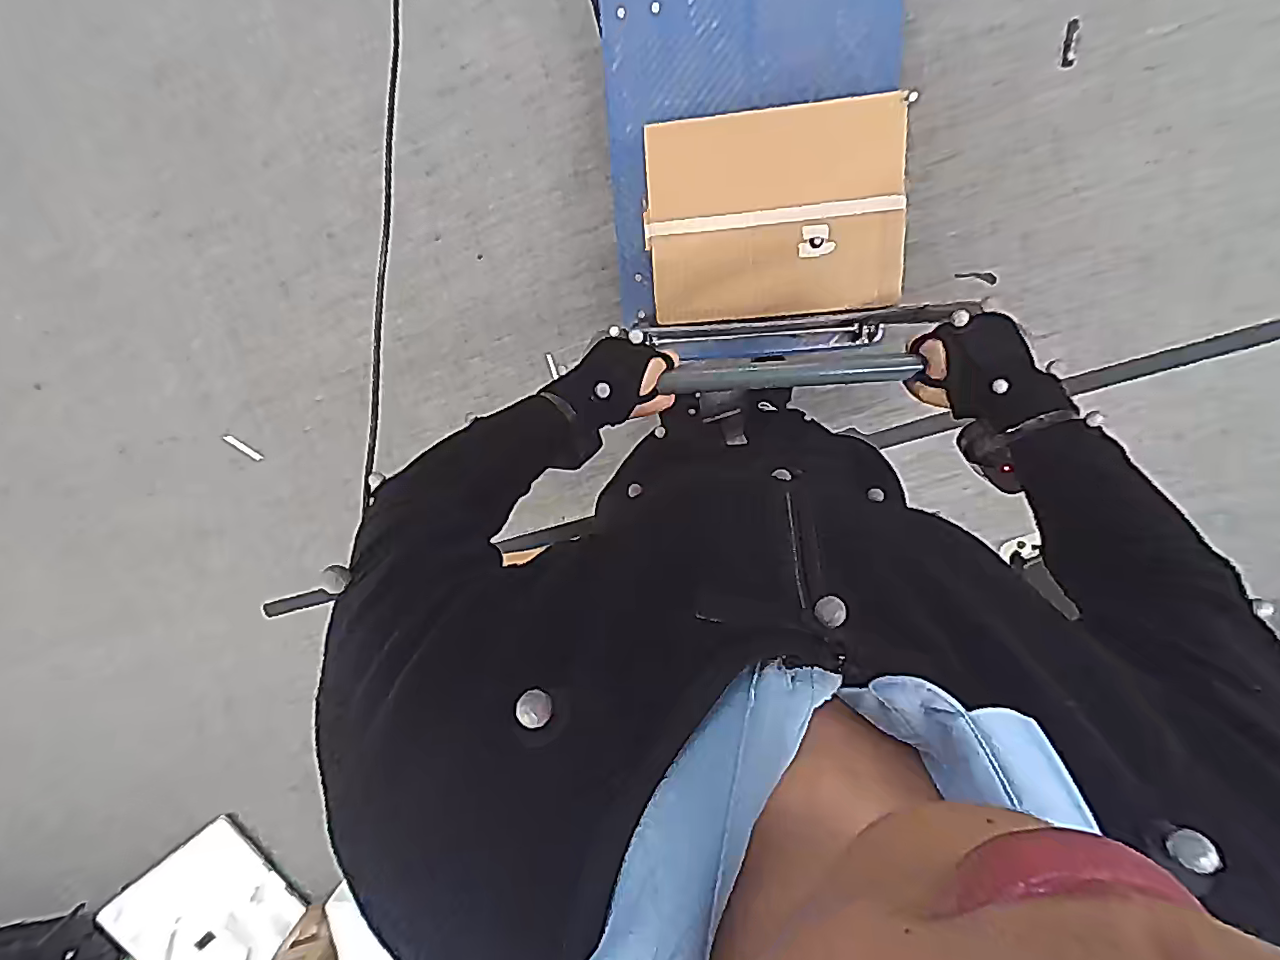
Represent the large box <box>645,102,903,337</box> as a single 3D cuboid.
[{"bbox_3d":[0.231,-0.450,1.023,0.408,0.320,0.320,-3,105,7],"label":"large box"}]
